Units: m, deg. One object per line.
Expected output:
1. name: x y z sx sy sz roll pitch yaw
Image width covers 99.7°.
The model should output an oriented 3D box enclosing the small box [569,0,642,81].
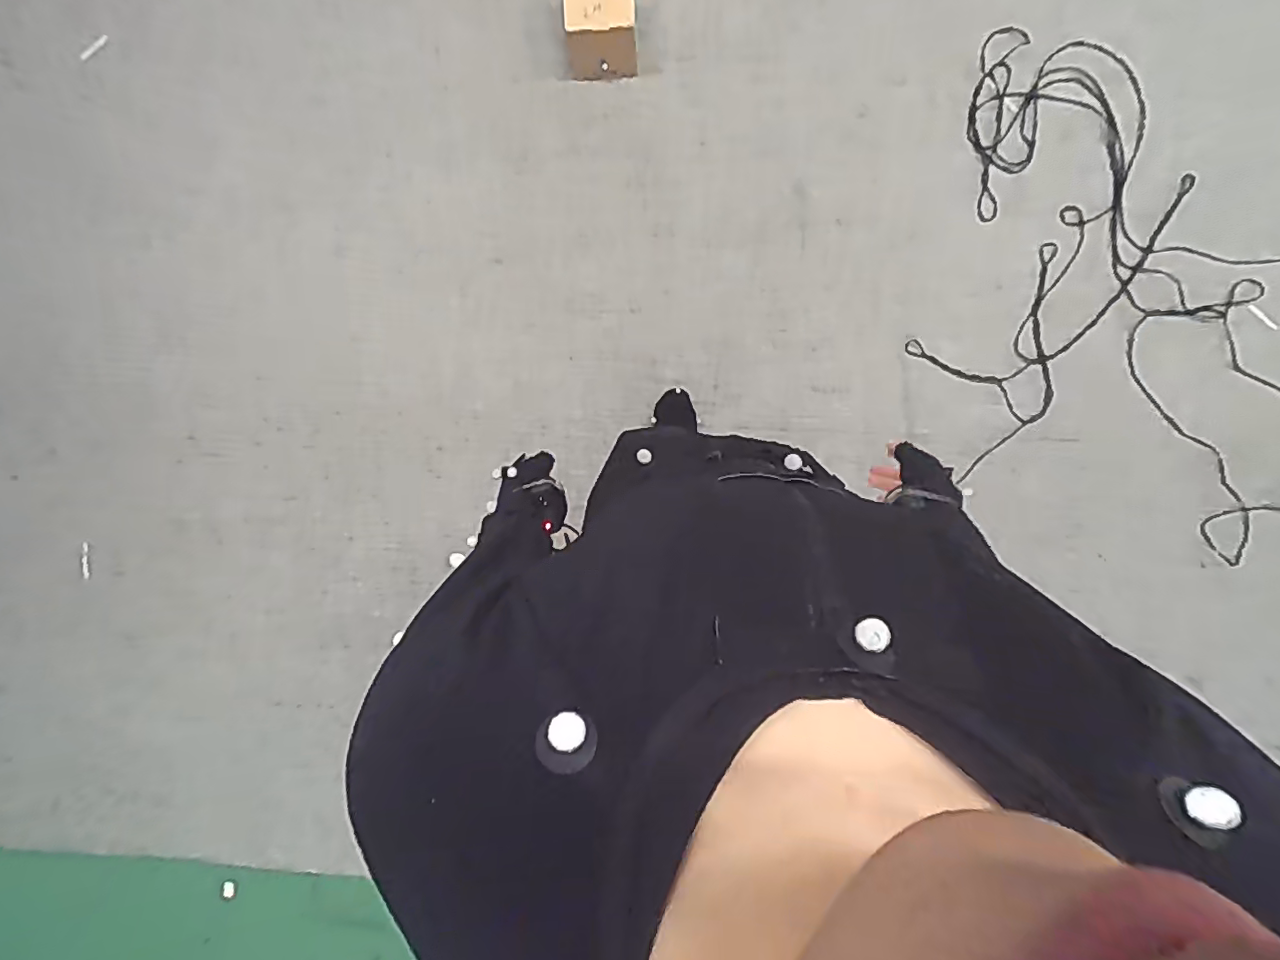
1. small box: -0.082 -1.130 1.331 0.168 0.176 0.179 -2 93 3
